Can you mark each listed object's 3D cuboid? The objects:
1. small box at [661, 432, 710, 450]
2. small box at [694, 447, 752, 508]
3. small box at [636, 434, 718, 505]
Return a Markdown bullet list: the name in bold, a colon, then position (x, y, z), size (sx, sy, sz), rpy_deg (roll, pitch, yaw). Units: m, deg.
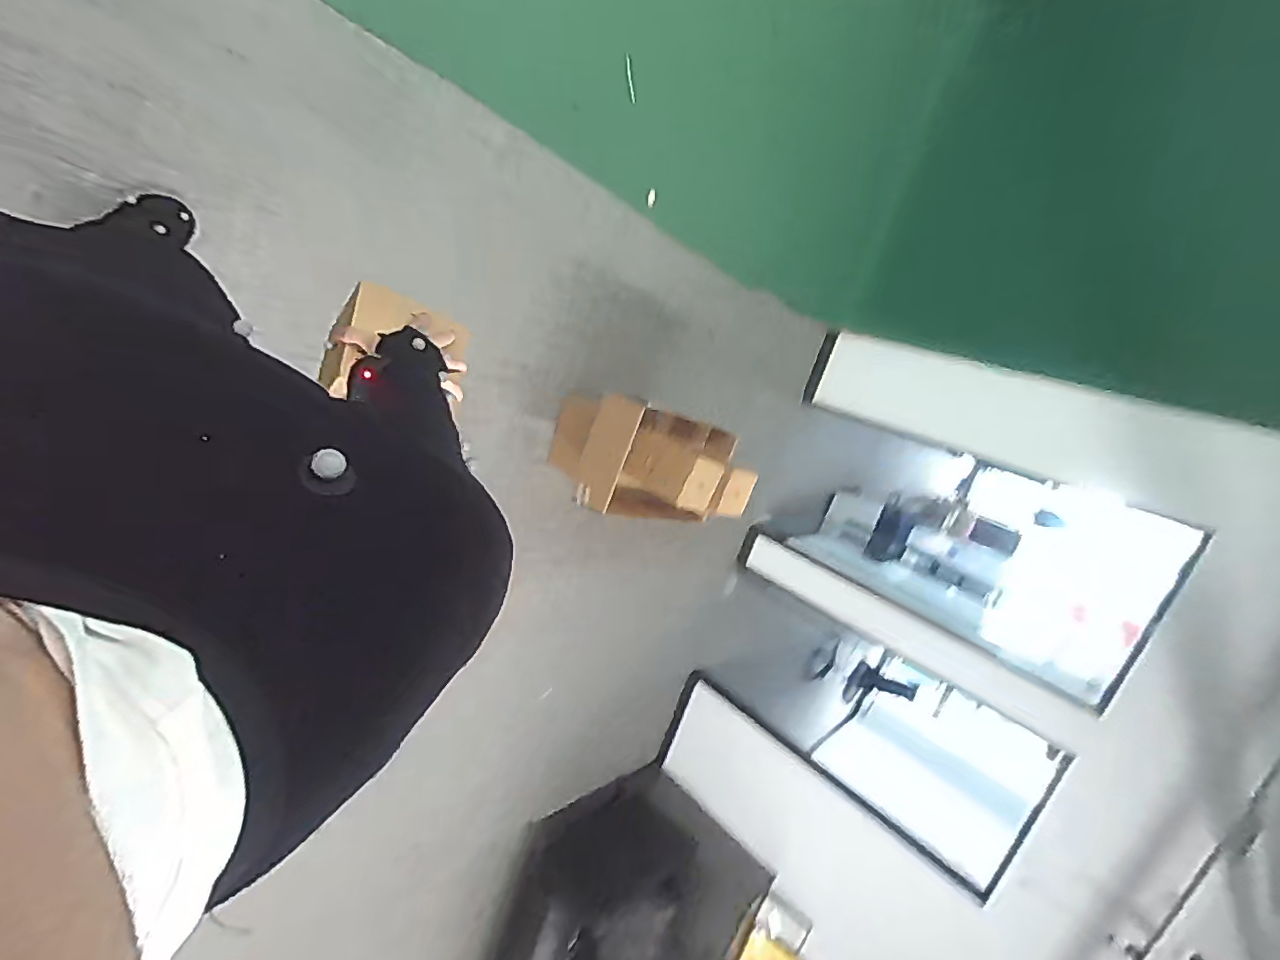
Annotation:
- **small box**: position (0.154, -0.072, 2.048), size (0.179, 0.176, 0.168), rpy_deg (8, 106, -50)
- **small box**: position (0.265, -0.011, 1.947), size (0.179, 0.176, 0.168), rpy_deg (8, 107, -49)
- **small box**: position (0.117, -0.036, 1.751), size (0.179, 0.176, 0.168), rpy_deg (18, 99, -54)
